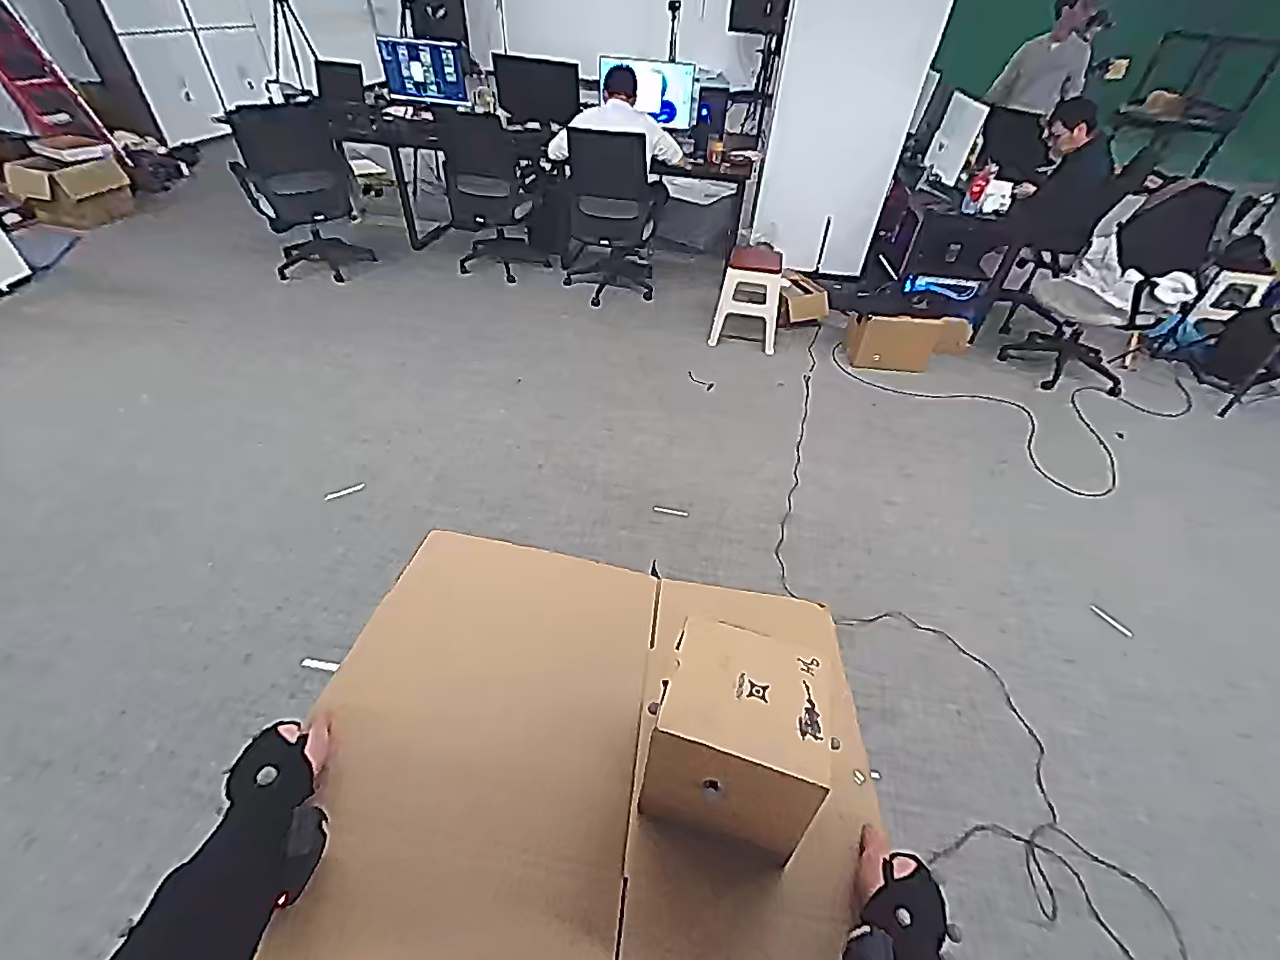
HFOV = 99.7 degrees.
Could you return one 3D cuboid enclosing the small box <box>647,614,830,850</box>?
[{"bbox_3d":[0.114,0.294,0.637,0.179,0.176,0.168,13,34,11],"label":"small box"}]
